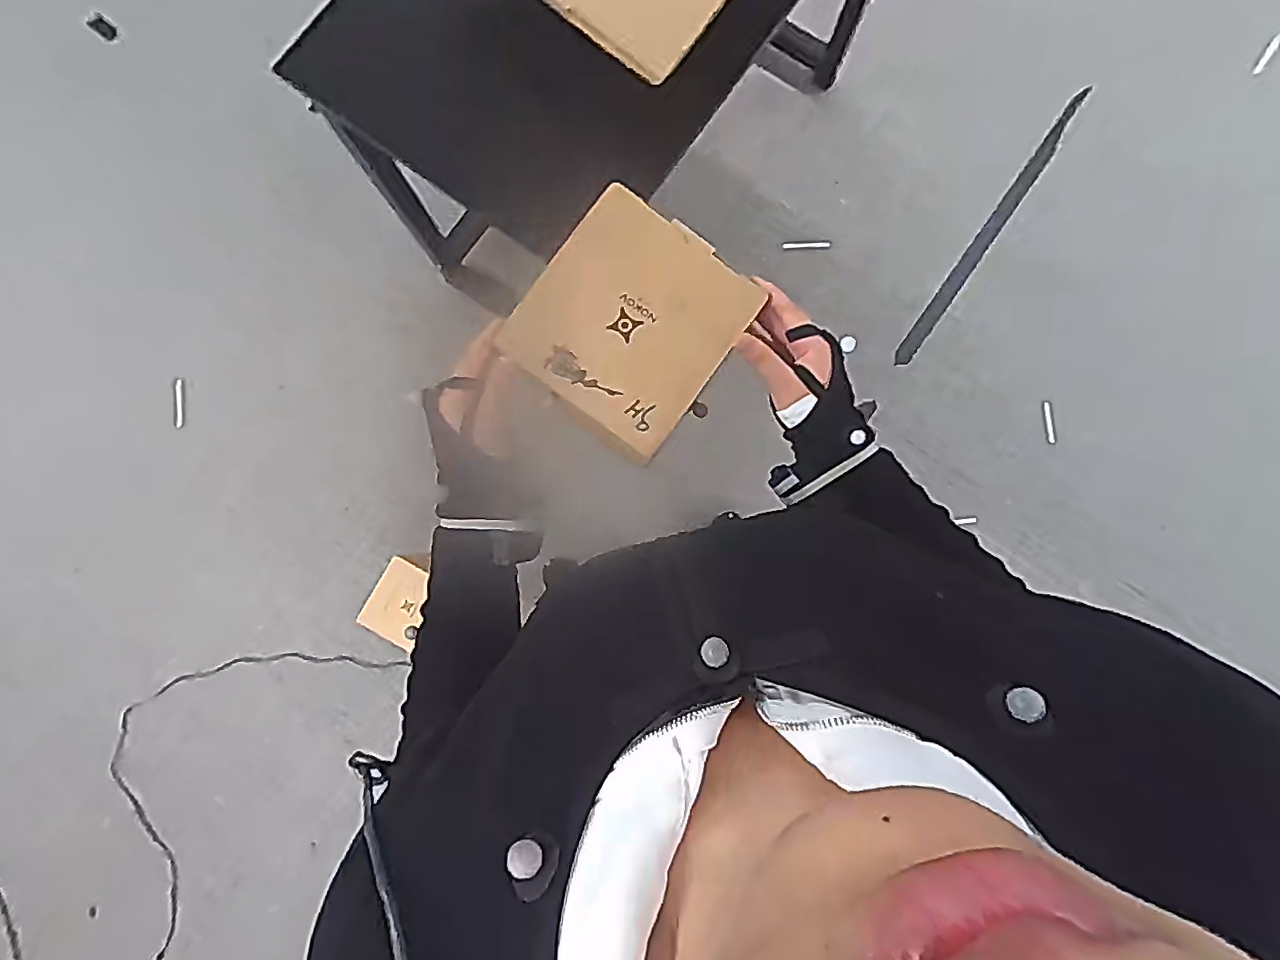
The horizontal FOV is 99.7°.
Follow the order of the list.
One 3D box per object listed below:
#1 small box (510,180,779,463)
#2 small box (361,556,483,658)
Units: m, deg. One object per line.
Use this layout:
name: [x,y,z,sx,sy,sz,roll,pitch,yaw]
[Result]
small box: [0.001,-0.136,0.533,0.168,0.176,0.179,37,86,1]
small box: [-0.494,0.283,1.255,0.179,0.176,0.168,28,85,3]
